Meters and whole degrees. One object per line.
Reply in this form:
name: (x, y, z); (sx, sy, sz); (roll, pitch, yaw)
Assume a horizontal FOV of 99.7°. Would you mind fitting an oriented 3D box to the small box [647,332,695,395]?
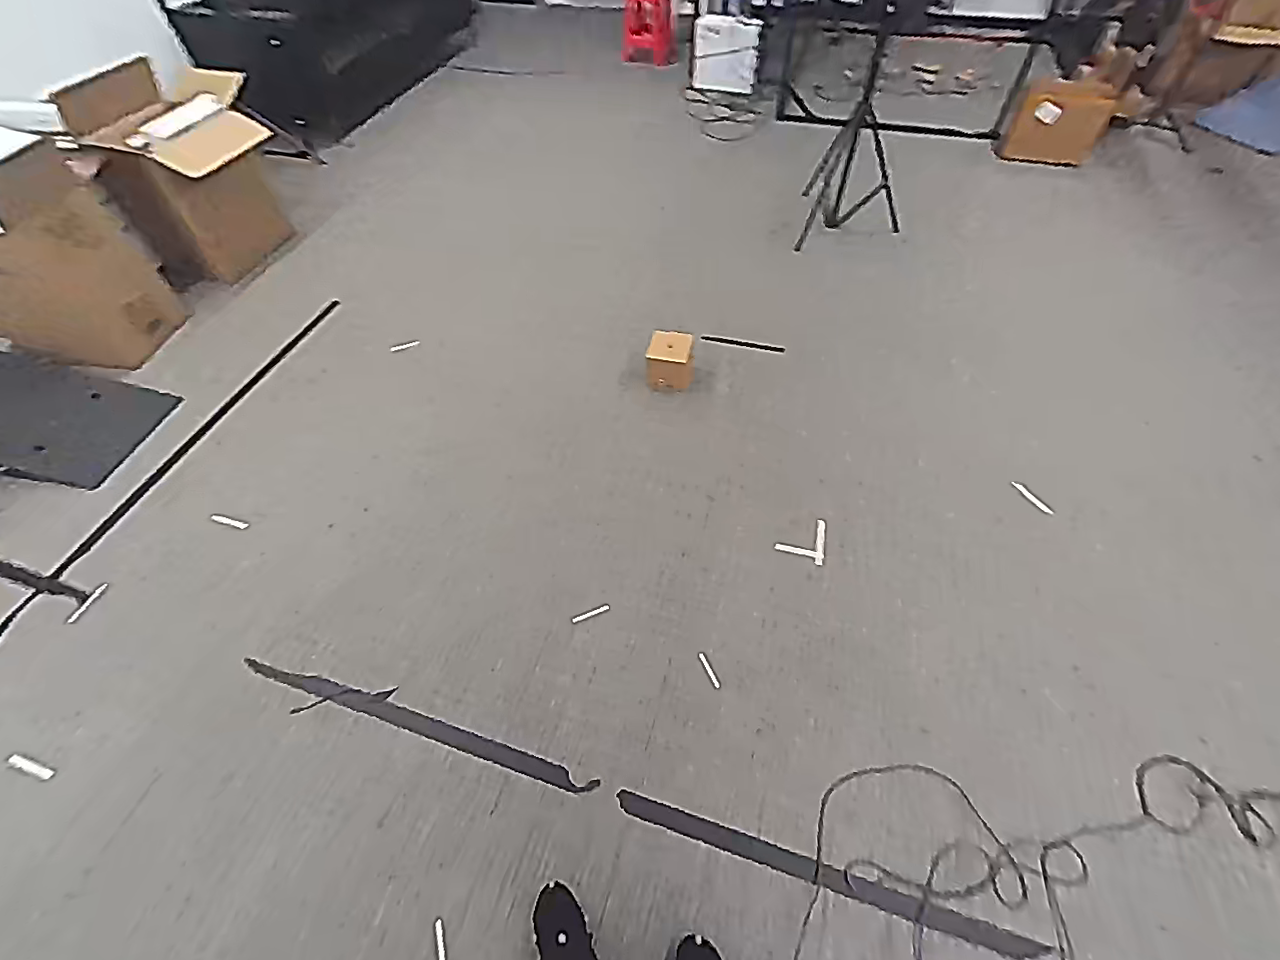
small box: (0.129, -0.482, 2.243); (0.168, 0.176, 0.179); (10, 55, 10)
